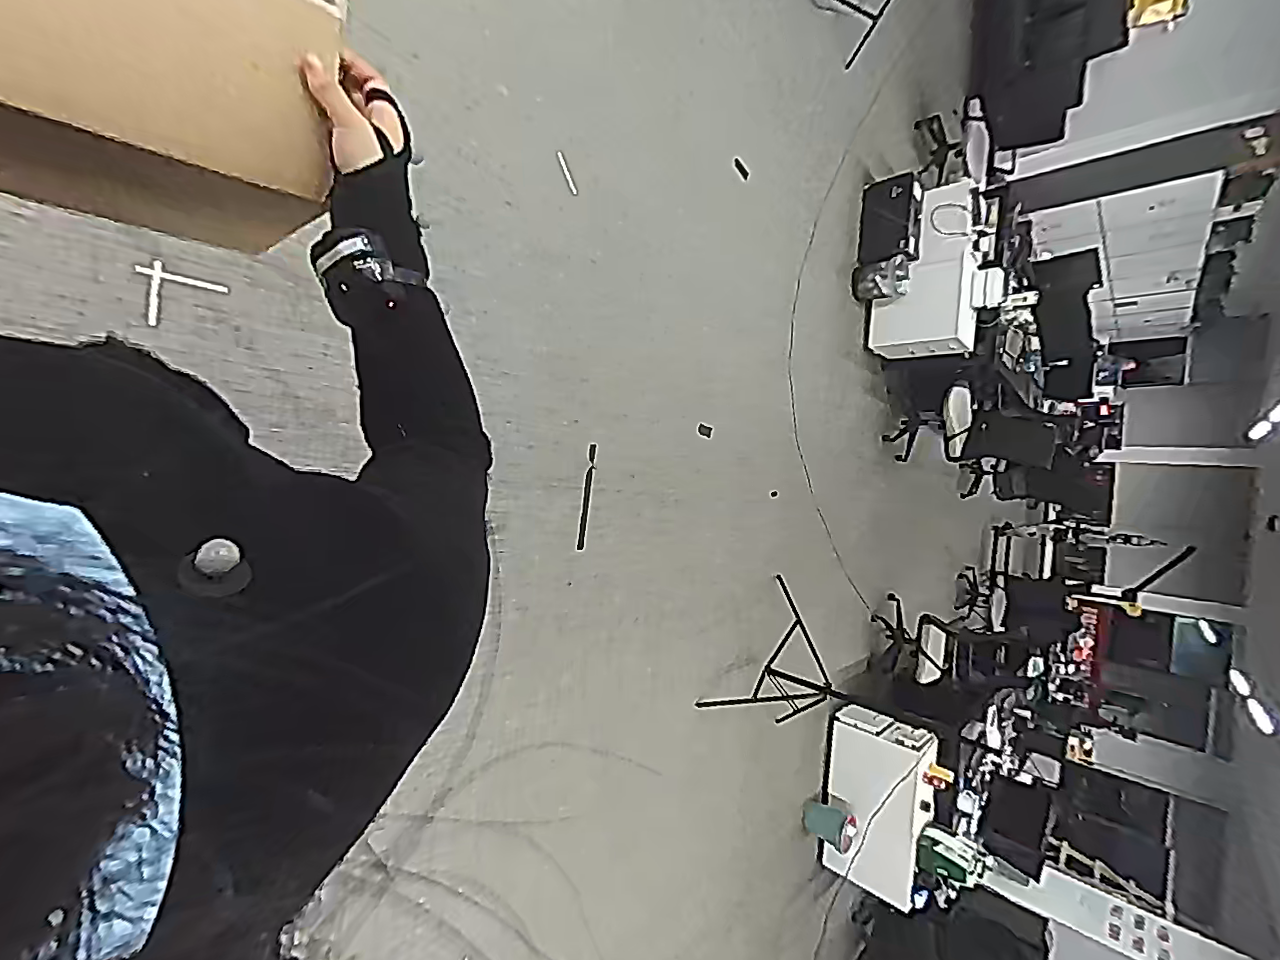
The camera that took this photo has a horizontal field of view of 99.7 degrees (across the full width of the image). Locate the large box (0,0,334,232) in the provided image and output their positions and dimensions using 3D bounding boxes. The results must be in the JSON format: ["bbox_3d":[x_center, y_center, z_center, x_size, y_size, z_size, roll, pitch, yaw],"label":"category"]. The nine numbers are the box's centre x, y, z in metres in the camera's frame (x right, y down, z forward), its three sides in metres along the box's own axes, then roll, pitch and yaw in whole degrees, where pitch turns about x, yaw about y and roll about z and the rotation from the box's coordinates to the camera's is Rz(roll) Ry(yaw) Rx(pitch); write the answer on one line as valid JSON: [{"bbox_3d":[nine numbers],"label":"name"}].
[{"bbox_3d":[-0.491,-0.420,0.405,0.408,0.320,0.320,0,99,-45],"label":"large box"}]
